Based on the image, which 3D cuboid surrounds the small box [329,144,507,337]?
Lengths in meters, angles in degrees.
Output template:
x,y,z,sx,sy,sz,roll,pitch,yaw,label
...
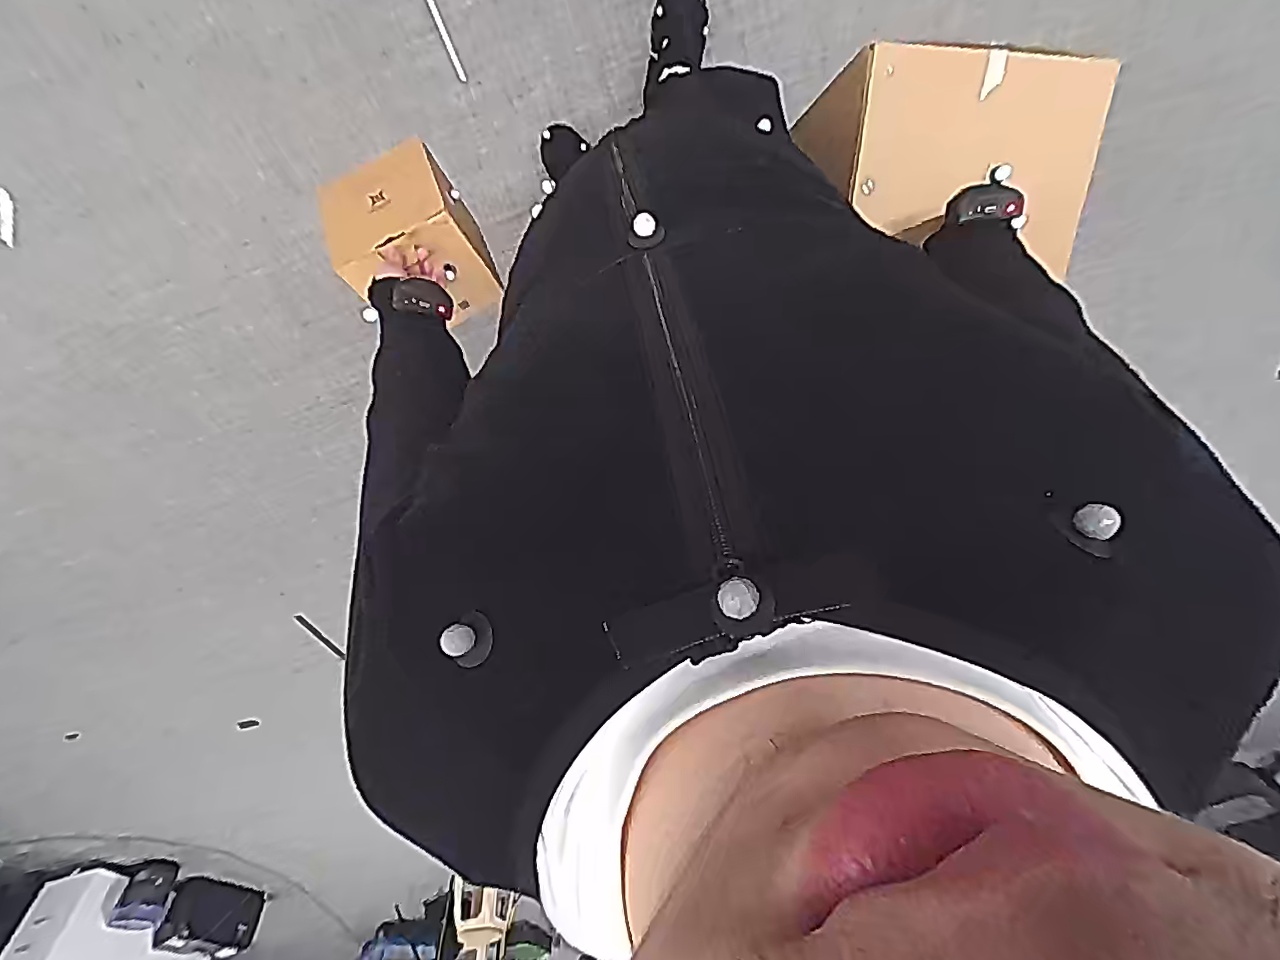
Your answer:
x,y,z,sx,sy,sz,roll,pitch,yaw,label
-0.320,-0.338,0.799,0.168,0.179,0.176,-26,154,4,small box
